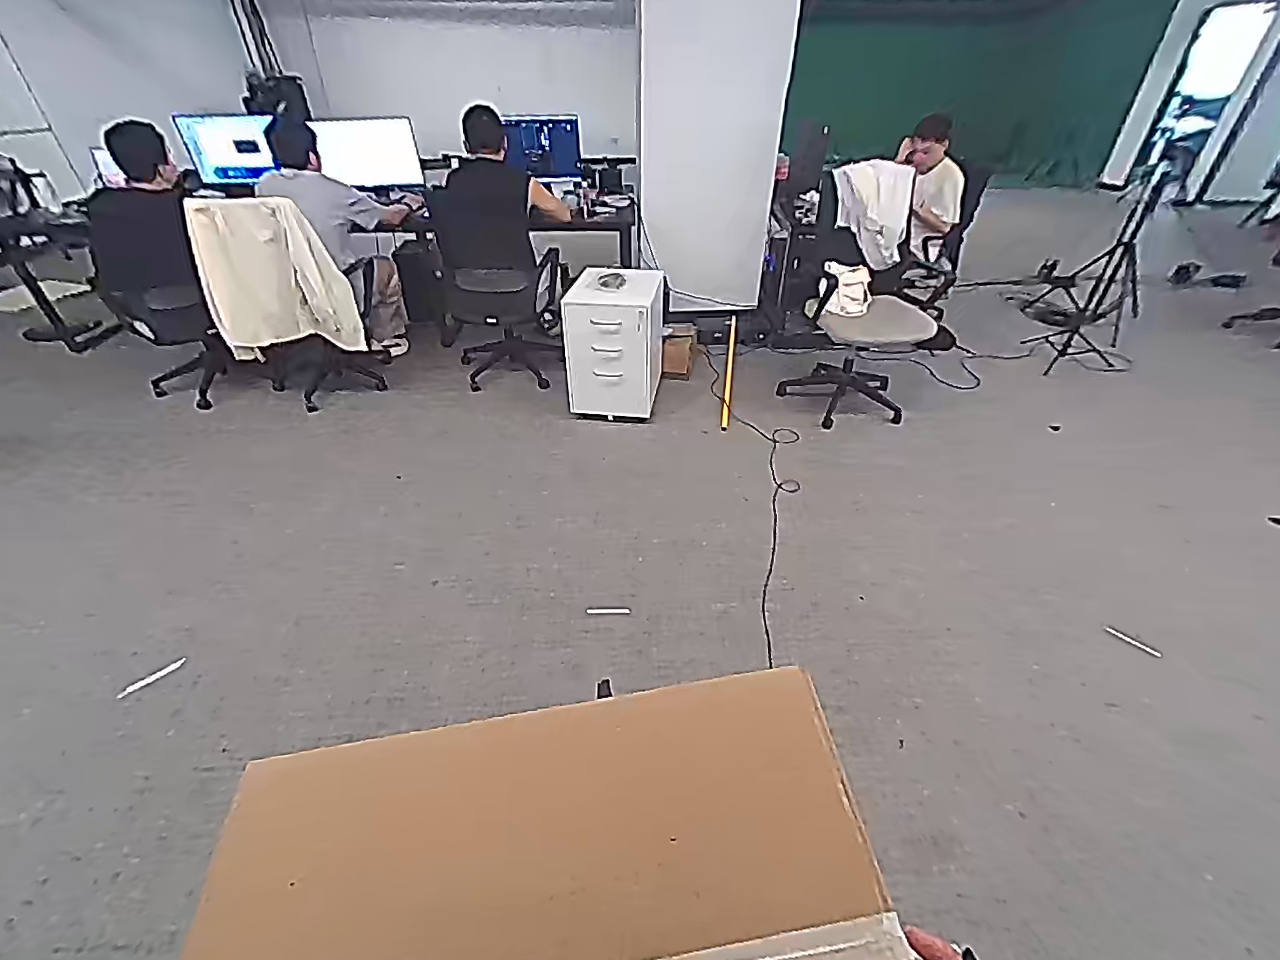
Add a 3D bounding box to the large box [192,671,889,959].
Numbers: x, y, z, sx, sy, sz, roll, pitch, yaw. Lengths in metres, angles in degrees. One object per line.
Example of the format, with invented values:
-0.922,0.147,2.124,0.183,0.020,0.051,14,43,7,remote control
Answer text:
-0.046,0.385,0.402,0.408,0.320,0.320,-9,46,-2,large box
